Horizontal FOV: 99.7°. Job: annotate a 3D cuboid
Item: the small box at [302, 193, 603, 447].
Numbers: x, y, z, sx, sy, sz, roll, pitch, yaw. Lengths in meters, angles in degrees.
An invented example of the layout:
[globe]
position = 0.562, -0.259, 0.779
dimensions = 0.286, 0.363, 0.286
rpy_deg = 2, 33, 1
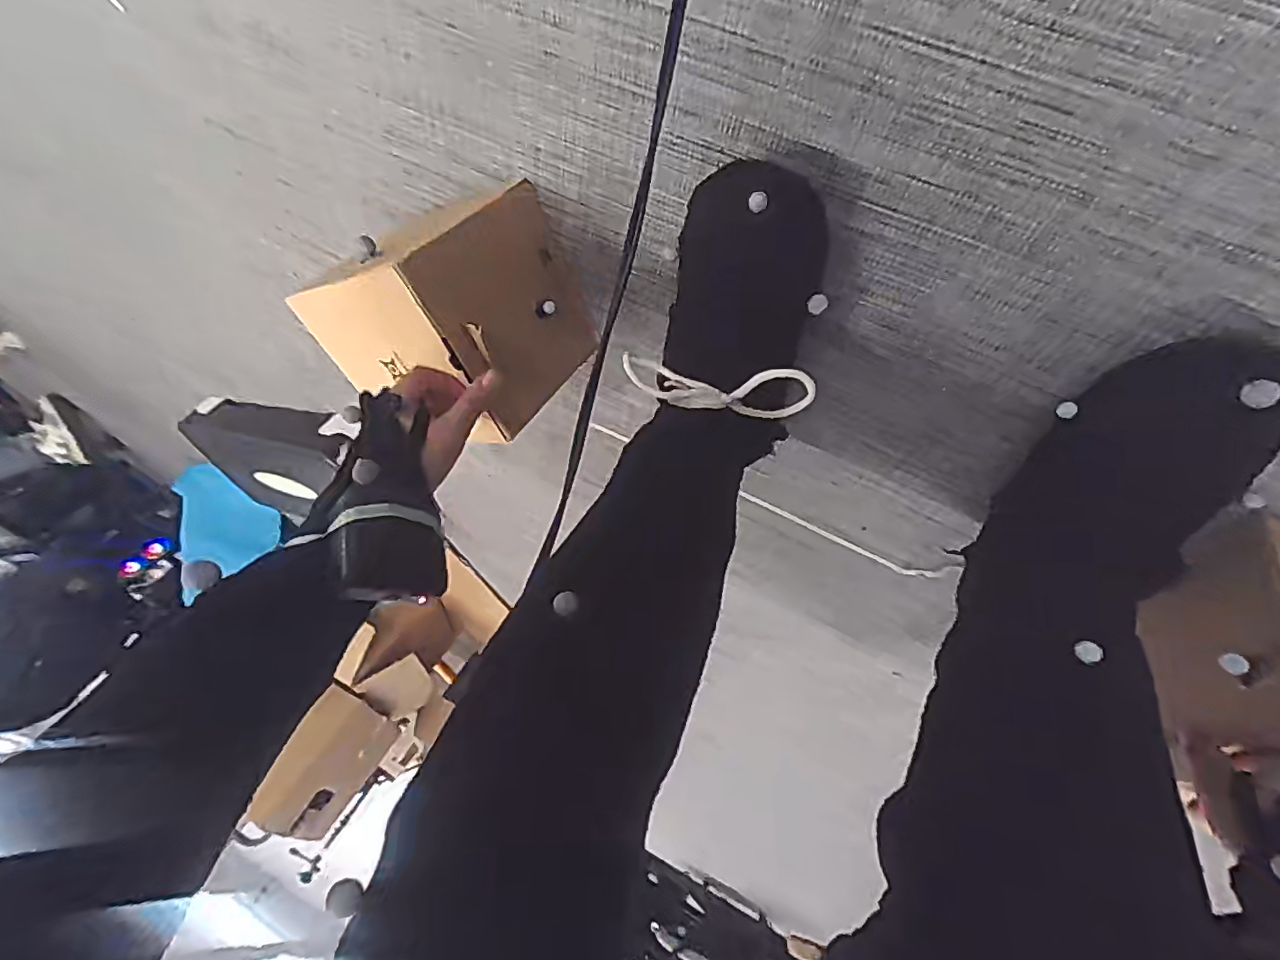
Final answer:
[small box]
position = -0.167, -0.150, 0.524
dimensions = 0.179, 0.176, 0.168
rpy_deg = 4, 135, 34
